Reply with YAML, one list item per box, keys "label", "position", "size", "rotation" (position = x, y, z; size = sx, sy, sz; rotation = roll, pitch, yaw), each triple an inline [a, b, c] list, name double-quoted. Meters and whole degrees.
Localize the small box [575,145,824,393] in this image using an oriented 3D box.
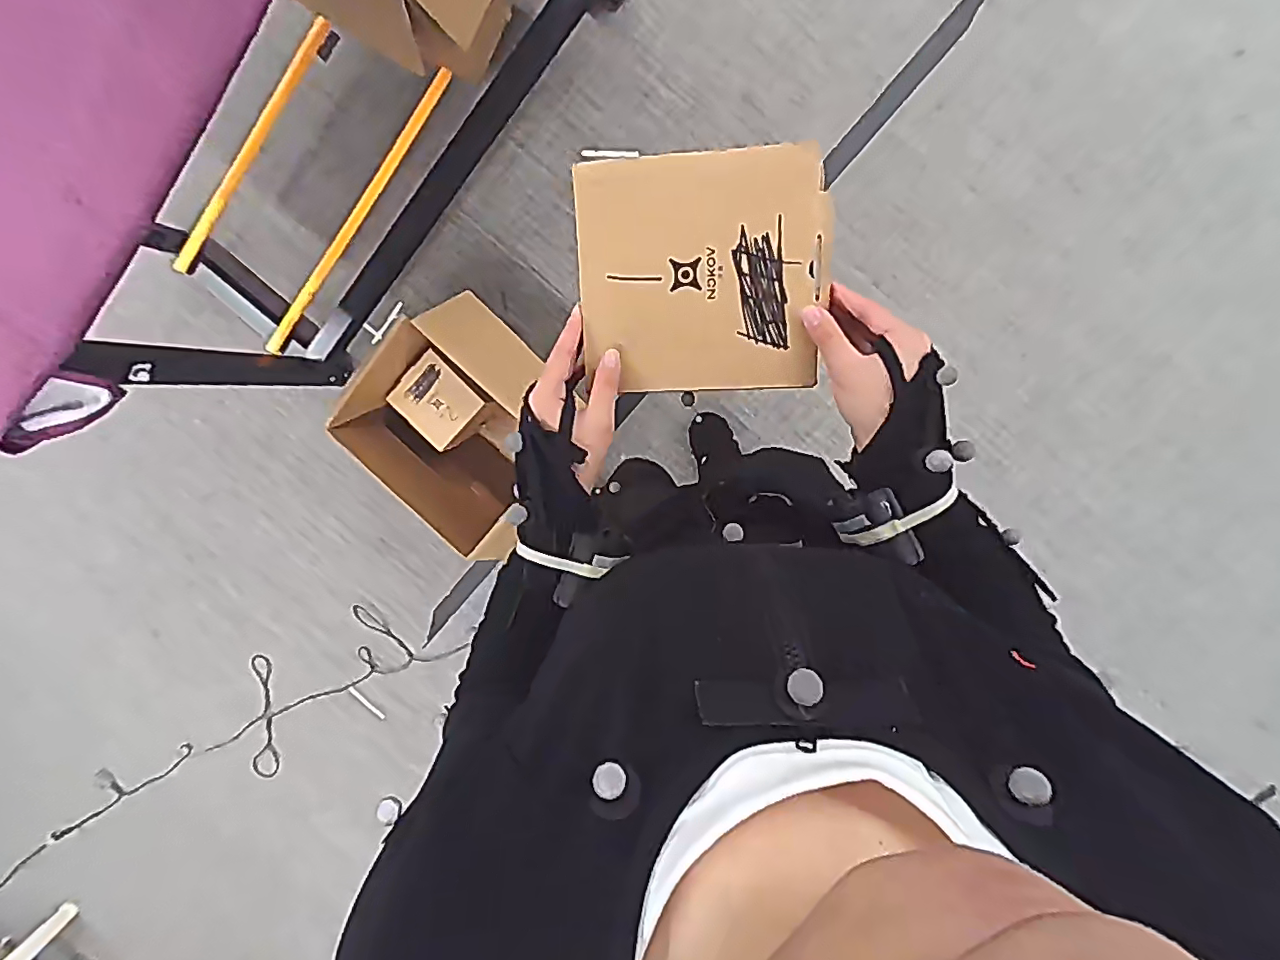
- label: "small box"
  position: [0.049, -0.164, 0.468]
  size: [0.179, 0.176, 0.168]
  rotation: [-1, 101, 6]
